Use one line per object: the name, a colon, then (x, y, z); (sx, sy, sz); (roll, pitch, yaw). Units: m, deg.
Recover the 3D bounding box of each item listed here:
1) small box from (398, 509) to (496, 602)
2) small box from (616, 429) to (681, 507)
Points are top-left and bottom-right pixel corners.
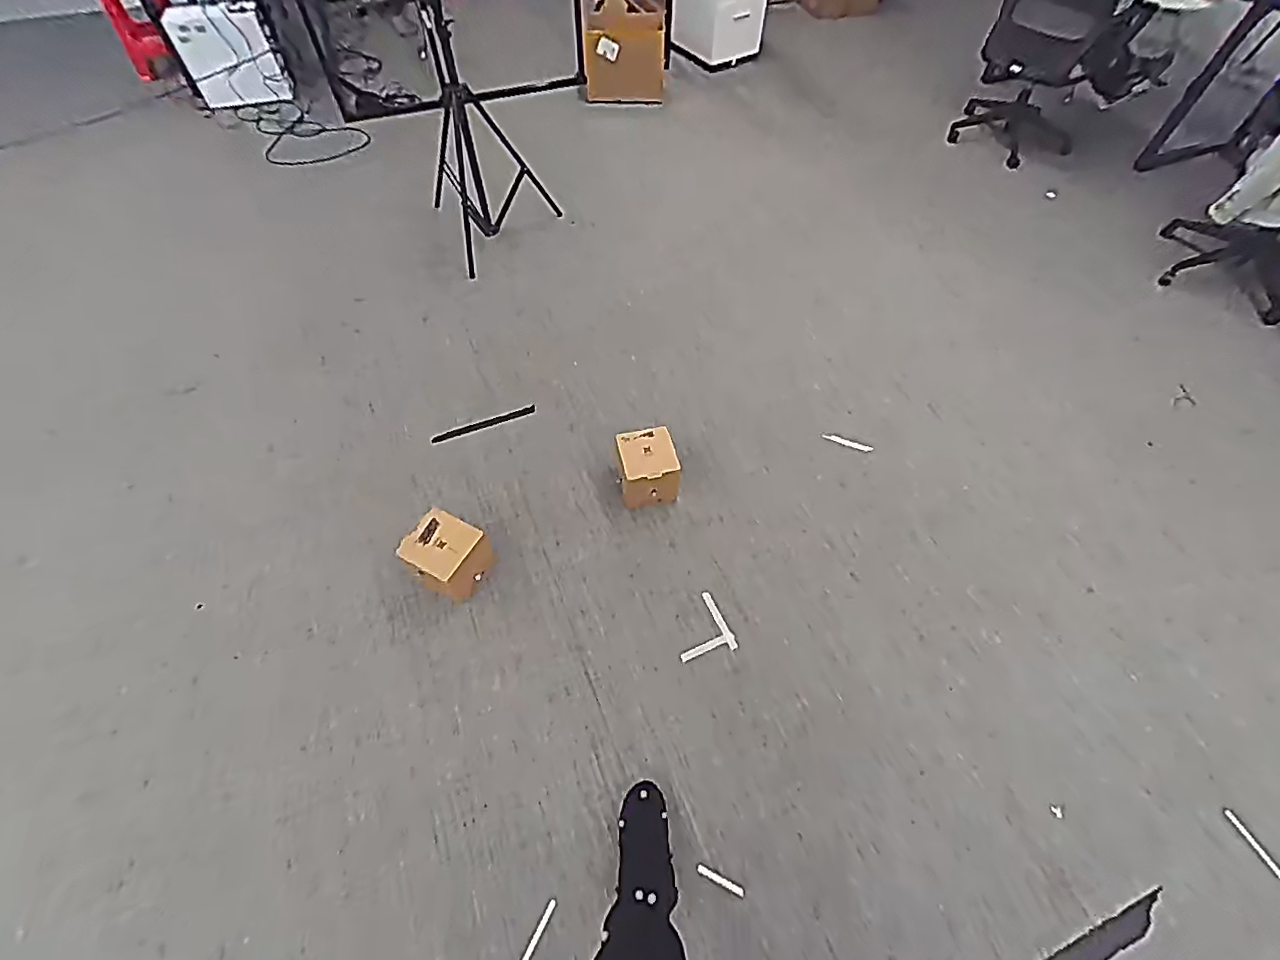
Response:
small box: (-0.532, 0.216, 1.515); (0.179, 0.176, 0.168); (25, 60, 14)
small box: (0.024, -0.031, 1.687); (0.168, 0.176, 0.179); (-11, 58, -8)
